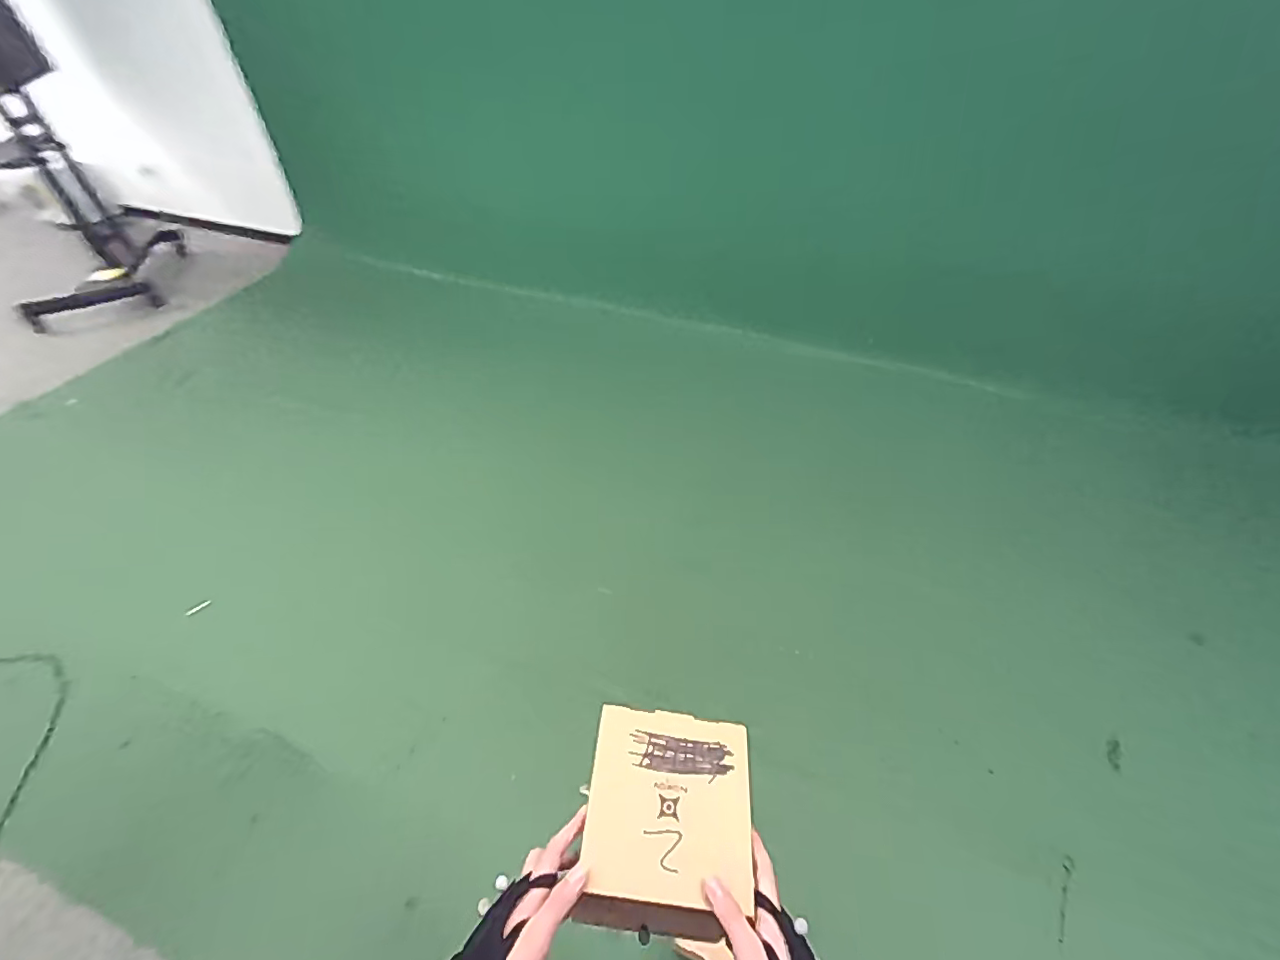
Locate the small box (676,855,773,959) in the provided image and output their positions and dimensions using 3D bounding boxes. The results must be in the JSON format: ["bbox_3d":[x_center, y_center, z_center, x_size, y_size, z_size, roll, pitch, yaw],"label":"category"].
[{"bbox_3d":[0.183,0.987,1.209,0.168,0.176,0.179,17,49,16],"label":"small box"}]
